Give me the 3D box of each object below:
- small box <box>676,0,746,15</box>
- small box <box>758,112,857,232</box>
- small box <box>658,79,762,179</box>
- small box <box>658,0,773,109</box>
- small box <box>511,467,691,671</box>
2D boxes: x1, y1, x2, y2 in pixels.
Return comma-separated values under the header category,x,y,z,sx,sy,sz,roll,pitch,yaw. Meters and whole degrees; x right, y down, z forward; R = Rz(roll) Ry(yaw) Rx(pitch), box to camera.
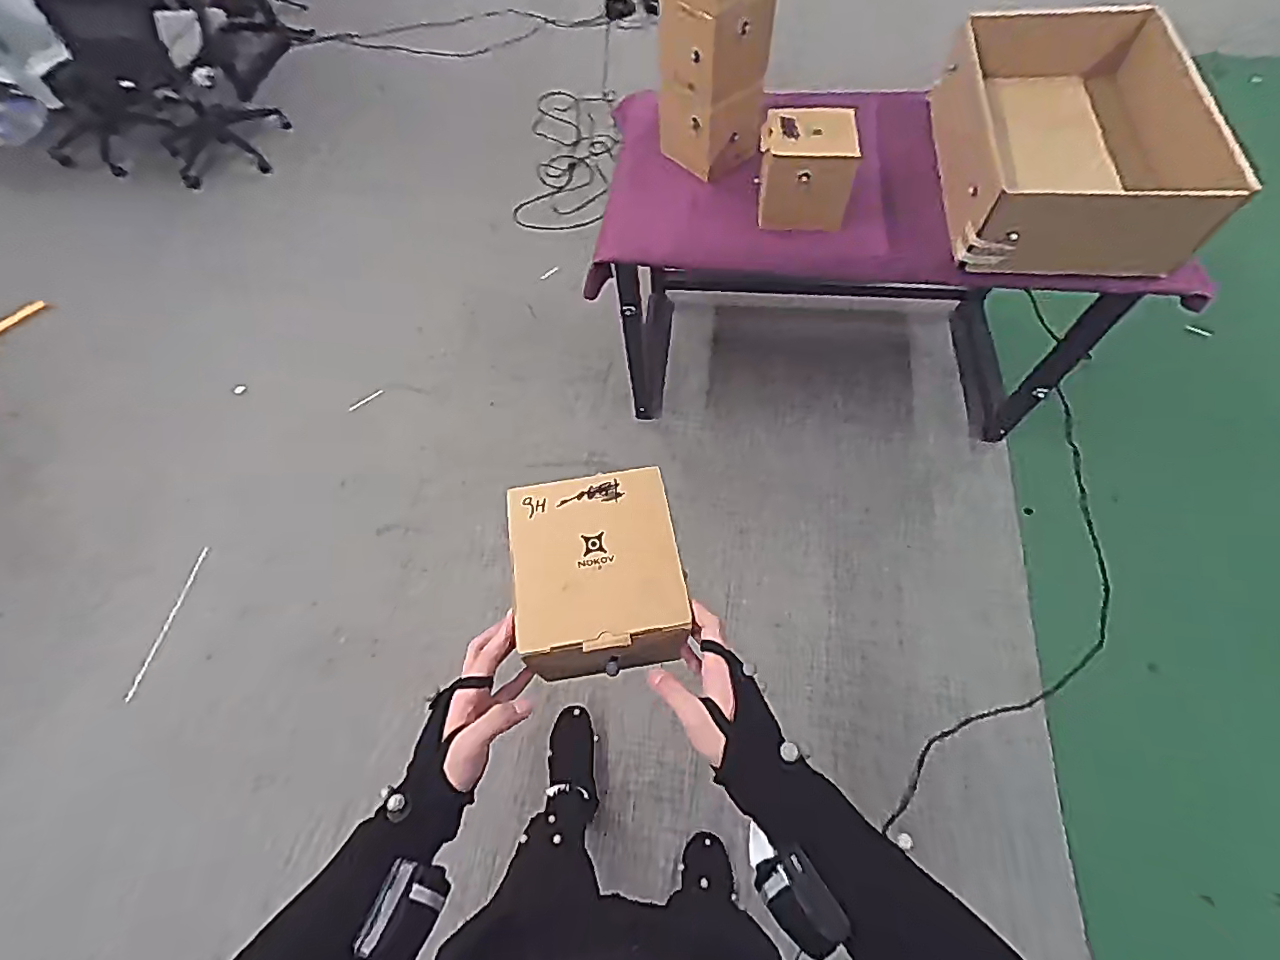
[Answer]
category,x,y,z,sx,sy,sz,roll,pitch,yaw
small box,0.142,-0.997,0.989,0.168,0.176,0.179,-40,68,-14
small box,0.350,-0.658,1.165,0.179,0.176,0.168,3,62,5
small box,0.161,-0.847,1.276,0.168,0.176,0.179,-38,67,-15
small box,0.157,-0.923,1.133,0.179,0.176,0.168,-38,68,-14
small box,-0.042,0.109,0.606,0.168,0.176,0.179,-8,63,-4
